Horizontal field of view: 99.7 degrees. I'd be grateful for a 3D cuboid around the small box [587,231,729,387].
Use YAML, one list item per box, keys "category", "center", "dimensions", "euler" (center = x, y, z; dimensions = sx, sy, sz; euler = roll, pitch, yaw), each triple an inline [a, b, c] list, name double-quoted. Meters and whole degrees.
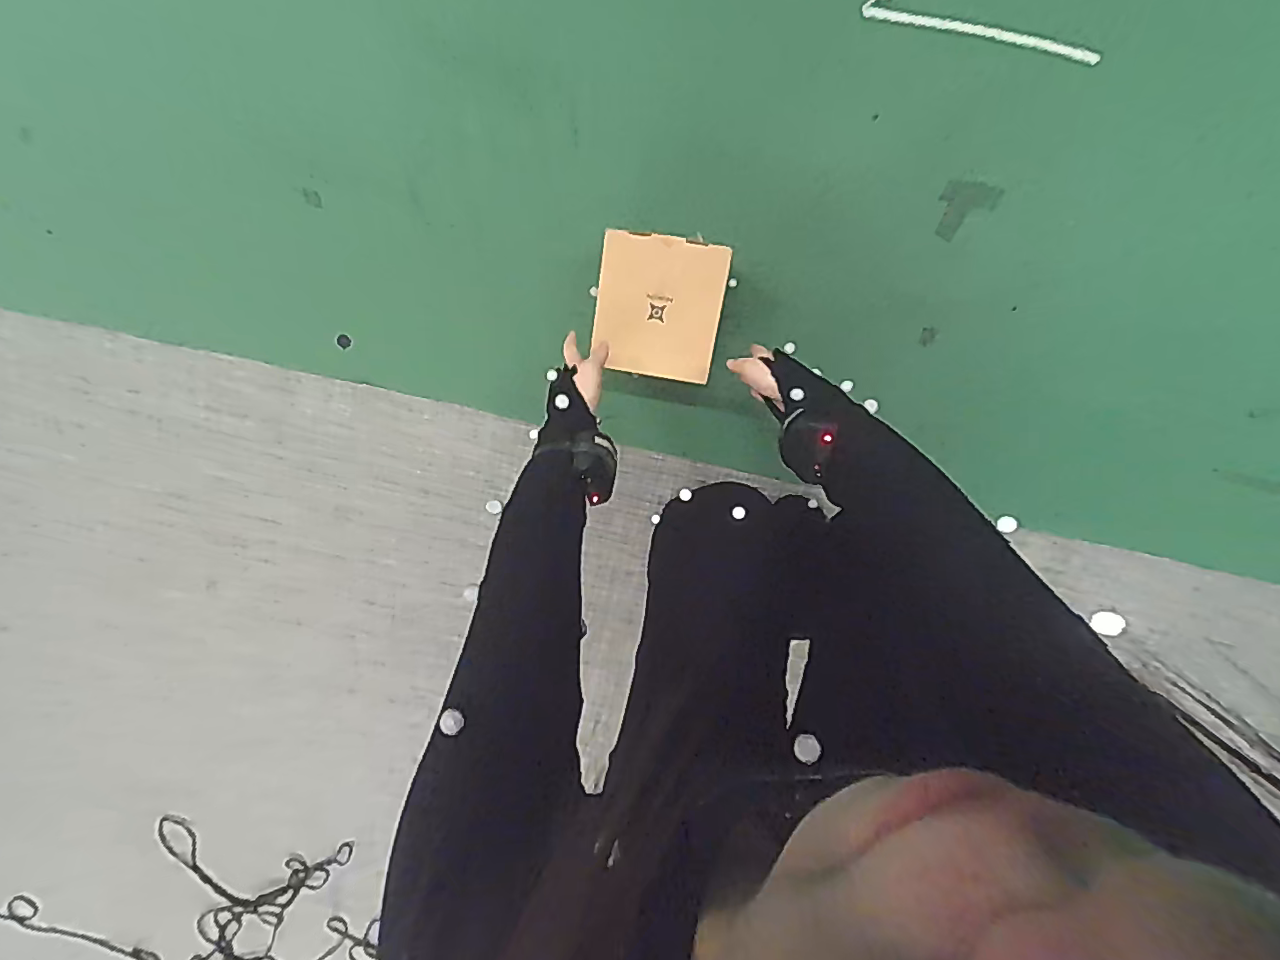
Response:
- category: "small box"
  center: [0.029, -0.244, 0.783]
  dimensions: [0.168, 0.176, 0.179]
  euler: [10, 107, 3]
